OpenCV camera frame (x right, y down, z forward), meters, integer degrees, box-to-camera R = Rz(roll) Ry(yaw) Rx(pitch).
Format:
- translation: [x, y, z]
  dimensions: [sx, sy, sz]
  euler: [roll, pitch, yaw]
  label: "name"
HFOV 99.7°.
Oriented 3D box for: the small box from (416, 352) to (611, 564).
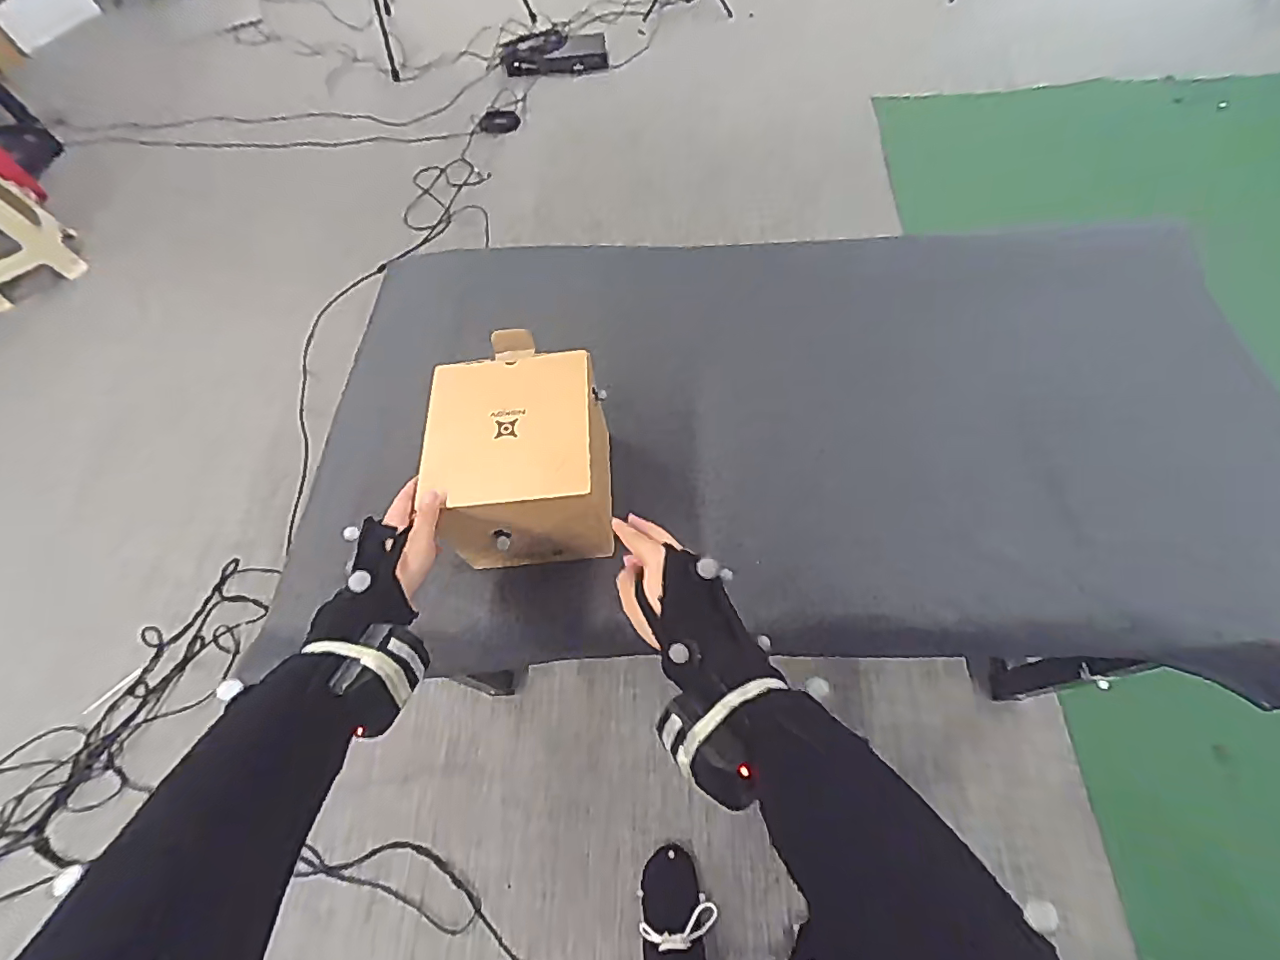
- translation: [-0.124, -0.014, 0.601]
  dimensions: [0.168, 0.176, 0.179]
  euler: [-5, 60, 1]
  label: "small box"
